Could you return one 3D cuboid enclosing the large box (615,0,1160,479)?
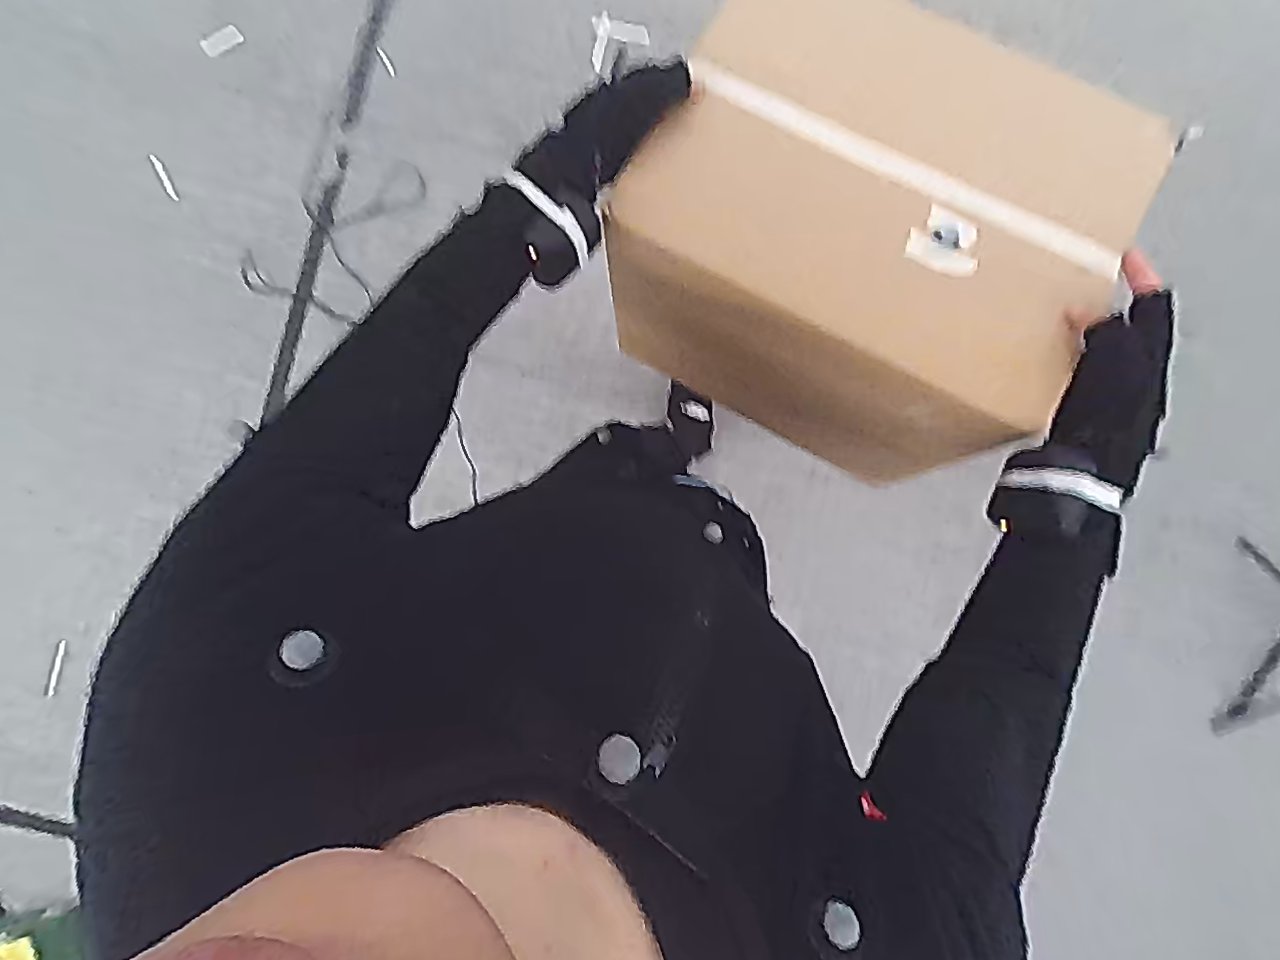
[{"bbox_3d":[0.219,-0.244,0.624,0.408,0.320,0.320,30,83,4],"label":"large box"}]
